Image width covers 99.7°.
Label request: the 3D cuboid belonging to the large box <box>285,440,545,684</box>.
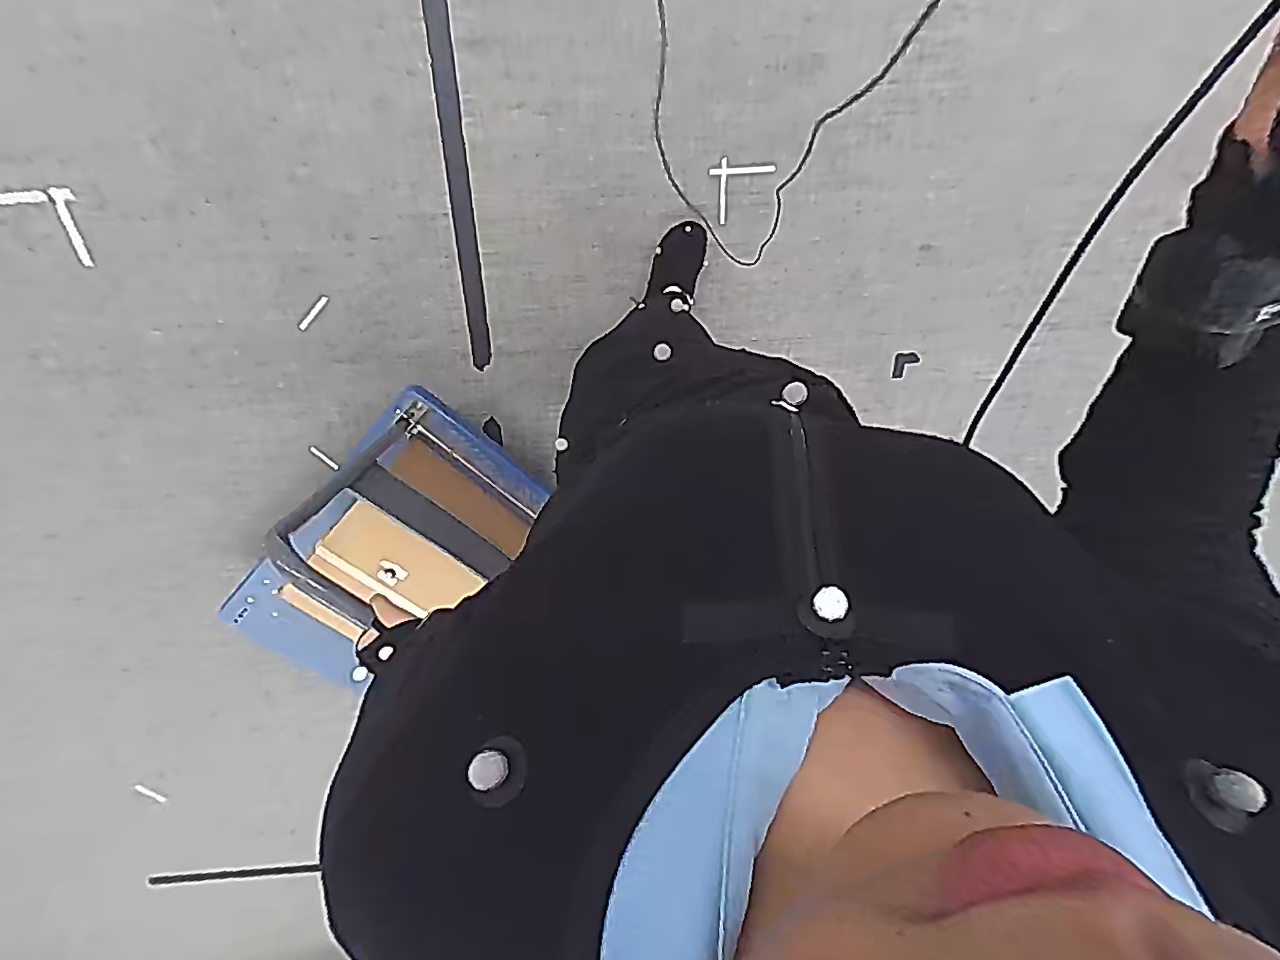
[{"bbox_3d":[-0.481,0.181,1.250,0.408,0.320,0.320,41,105,-19],"label":"large box"}]
